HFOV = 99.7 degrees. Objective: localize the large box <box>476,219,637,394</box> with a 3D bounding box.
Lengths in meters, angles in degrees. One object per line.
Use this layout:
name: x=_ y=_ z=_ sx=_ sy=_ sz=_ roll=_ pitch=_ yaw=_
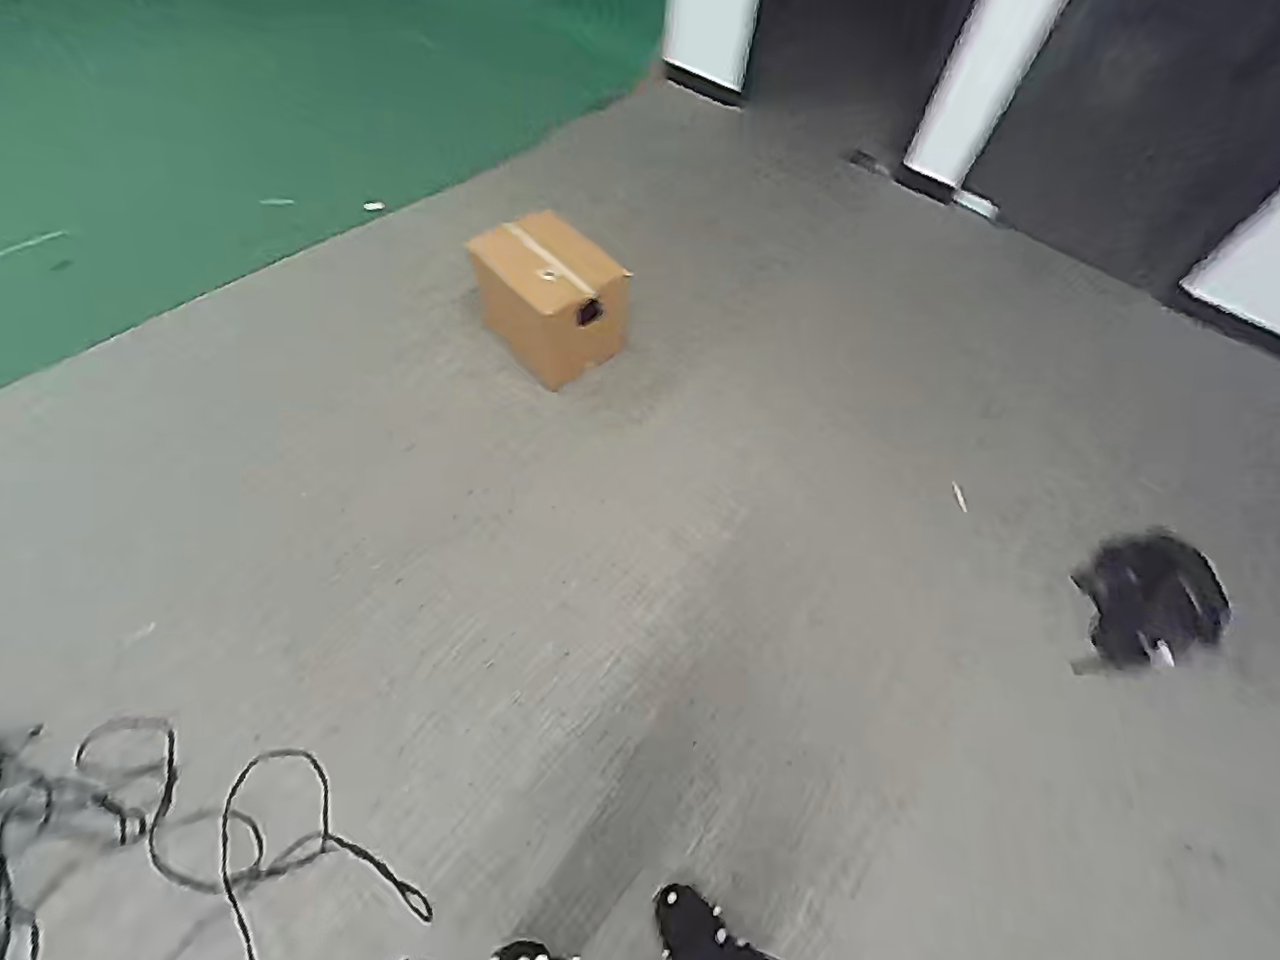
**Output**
large box: x=-0.265 y=-0.559 z=1.740 sx=0.320 sy=0.320 sz=0.408 roll=-36 pitch=67 yaw=-23
